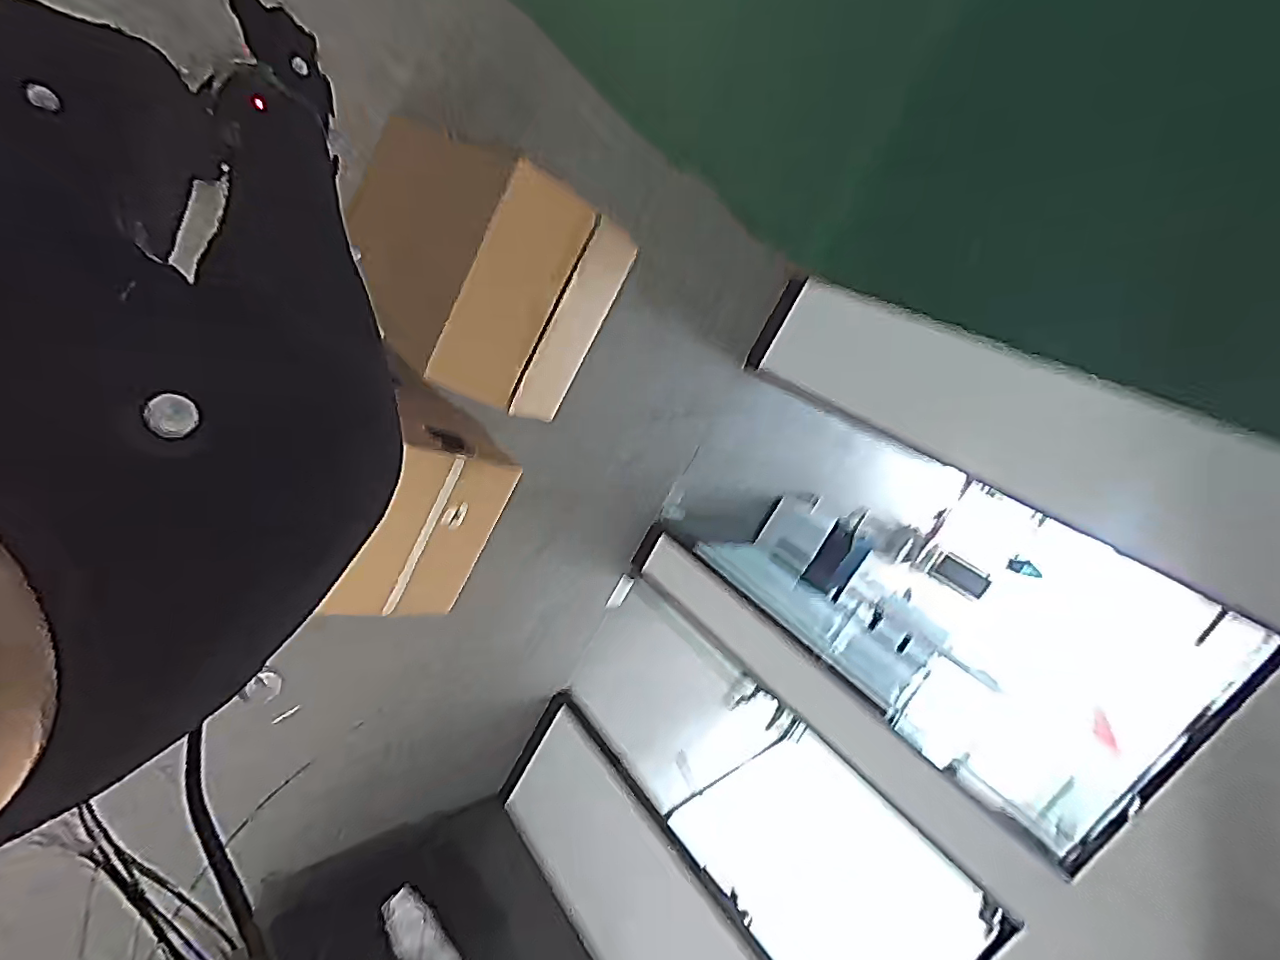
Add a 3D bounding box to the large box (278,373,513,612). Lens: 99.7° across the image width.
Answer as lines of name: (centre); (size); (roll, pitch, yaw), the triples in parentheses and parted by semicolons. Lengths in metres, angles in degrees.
large box: (-0.553, 0.038, 1.204); (0.320, 0.320, 0.408); (17, 107, -48)
